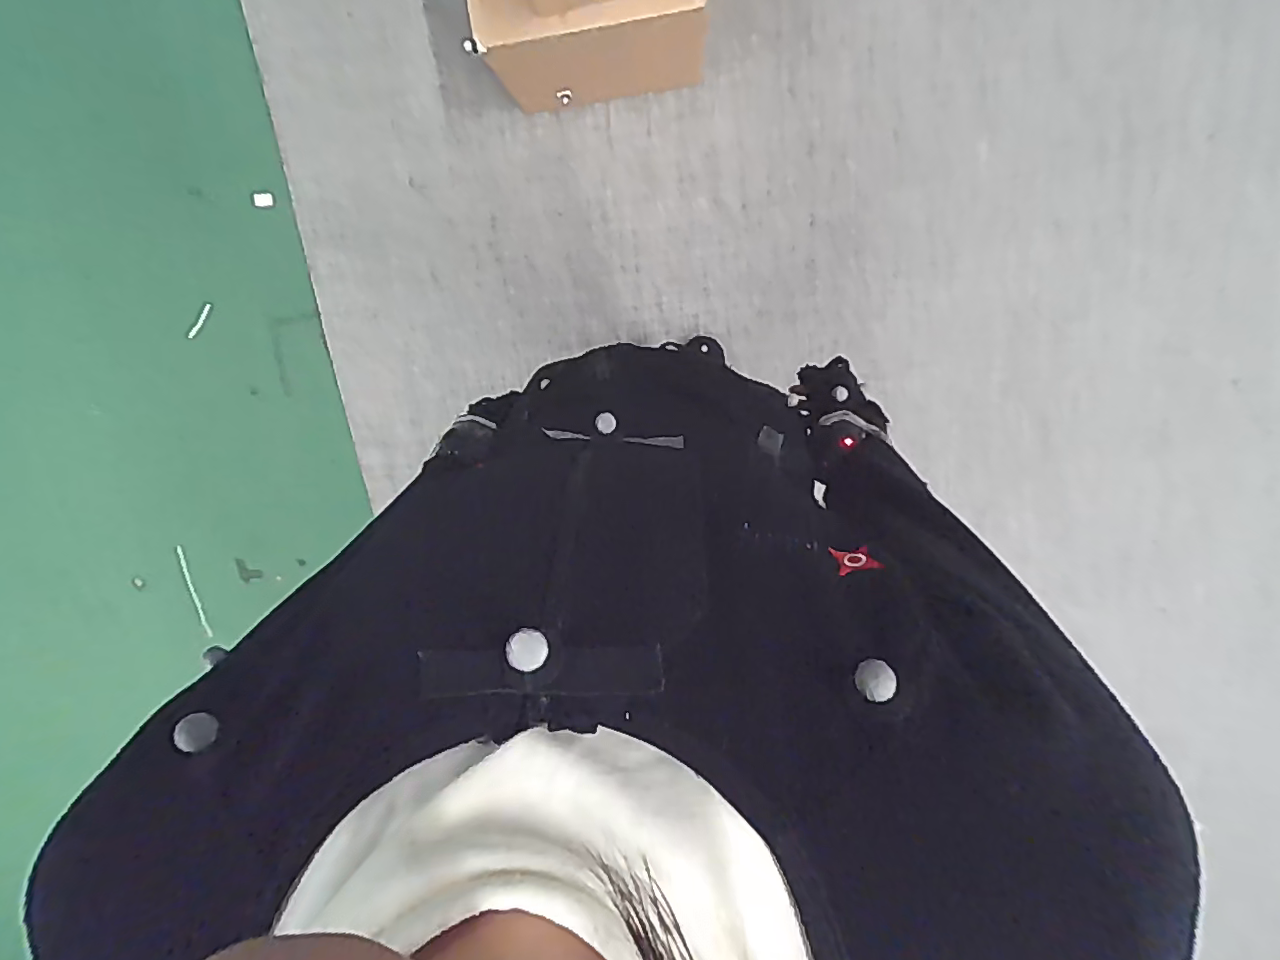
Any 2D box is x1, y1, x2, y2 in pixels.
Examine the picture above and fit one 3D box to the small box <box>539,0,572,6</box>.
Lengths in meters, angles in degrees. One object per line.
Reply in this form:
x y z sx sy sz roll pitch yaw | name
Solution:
-0.112 -0.852 0.801 0.168 0.176 0.179 -8 107 8 | small box
